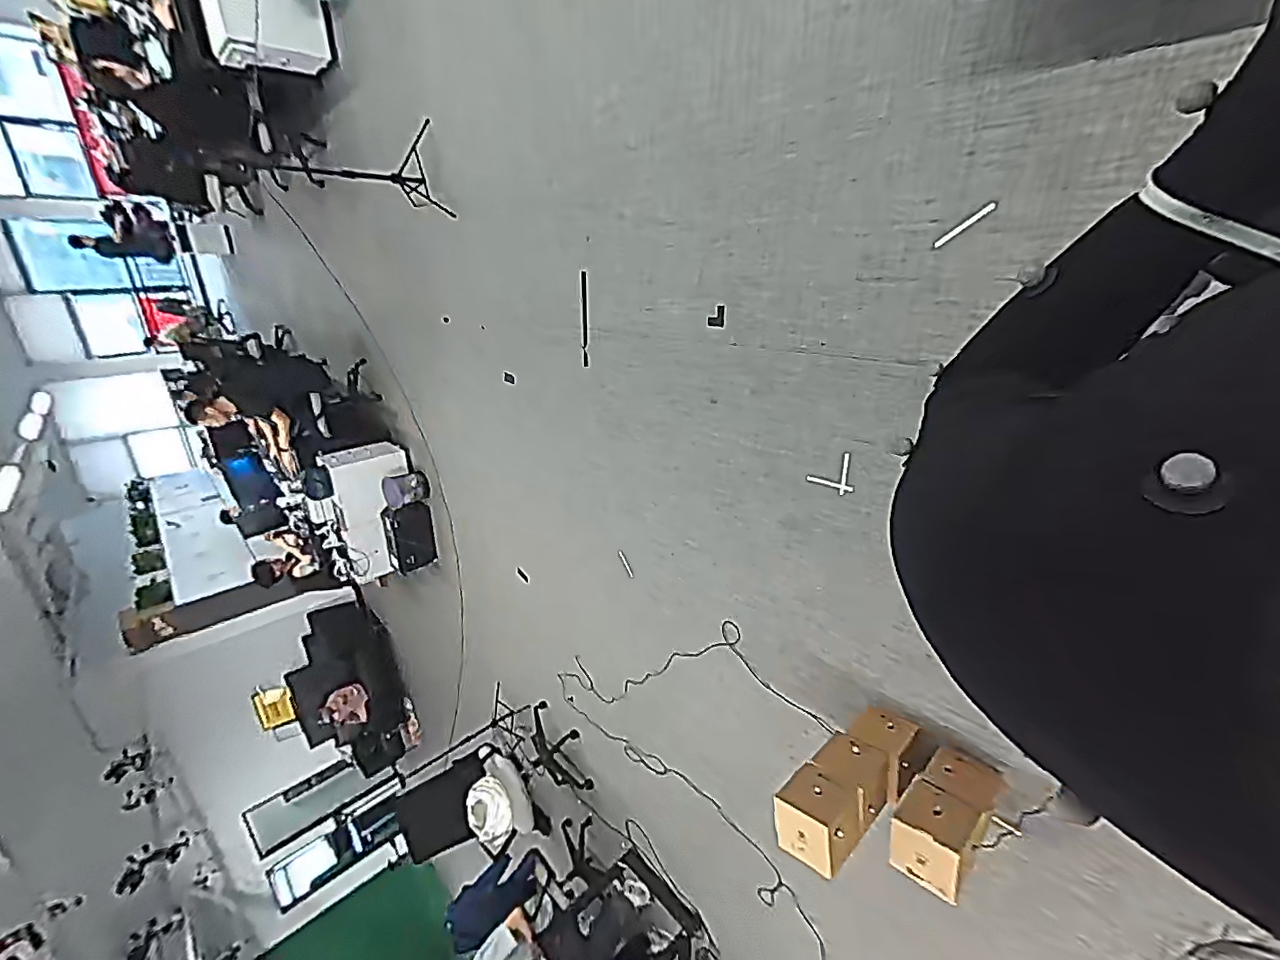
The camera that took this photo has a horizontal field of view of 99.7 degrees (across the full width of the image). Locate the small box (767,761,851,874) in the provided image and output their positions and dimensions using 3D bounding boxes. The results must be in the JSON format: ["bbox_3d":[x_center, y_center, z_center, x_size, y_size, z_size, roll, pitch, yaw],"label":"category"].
[{"bbox_3d":[0.481,0.941,1.527,0.168,0.176,0.179,7,110,47],"label":"small box"}]

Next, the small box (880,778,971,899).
[{"bbox_3d":[0.772,0.956,1.462,0.168,0.176,0.179,15,116,45],"label":"small box"}]

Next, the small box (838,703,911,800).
[{"bbox_3d":[0.742,0.851,1.710,0.168,0.176,0.179,10,112,46],"label":"small box"}]

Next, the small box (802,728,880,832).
[{"bbox_3d":[0.605,0.893,1.625,0.168,0.176,0.179,11,113,46],"label":"small box"}]

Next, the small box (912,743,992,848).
[{"bbox_3d":[0.892,0.908,1.564,0.168,0.176,0.179,20,120,44],"label":"small box"}]
